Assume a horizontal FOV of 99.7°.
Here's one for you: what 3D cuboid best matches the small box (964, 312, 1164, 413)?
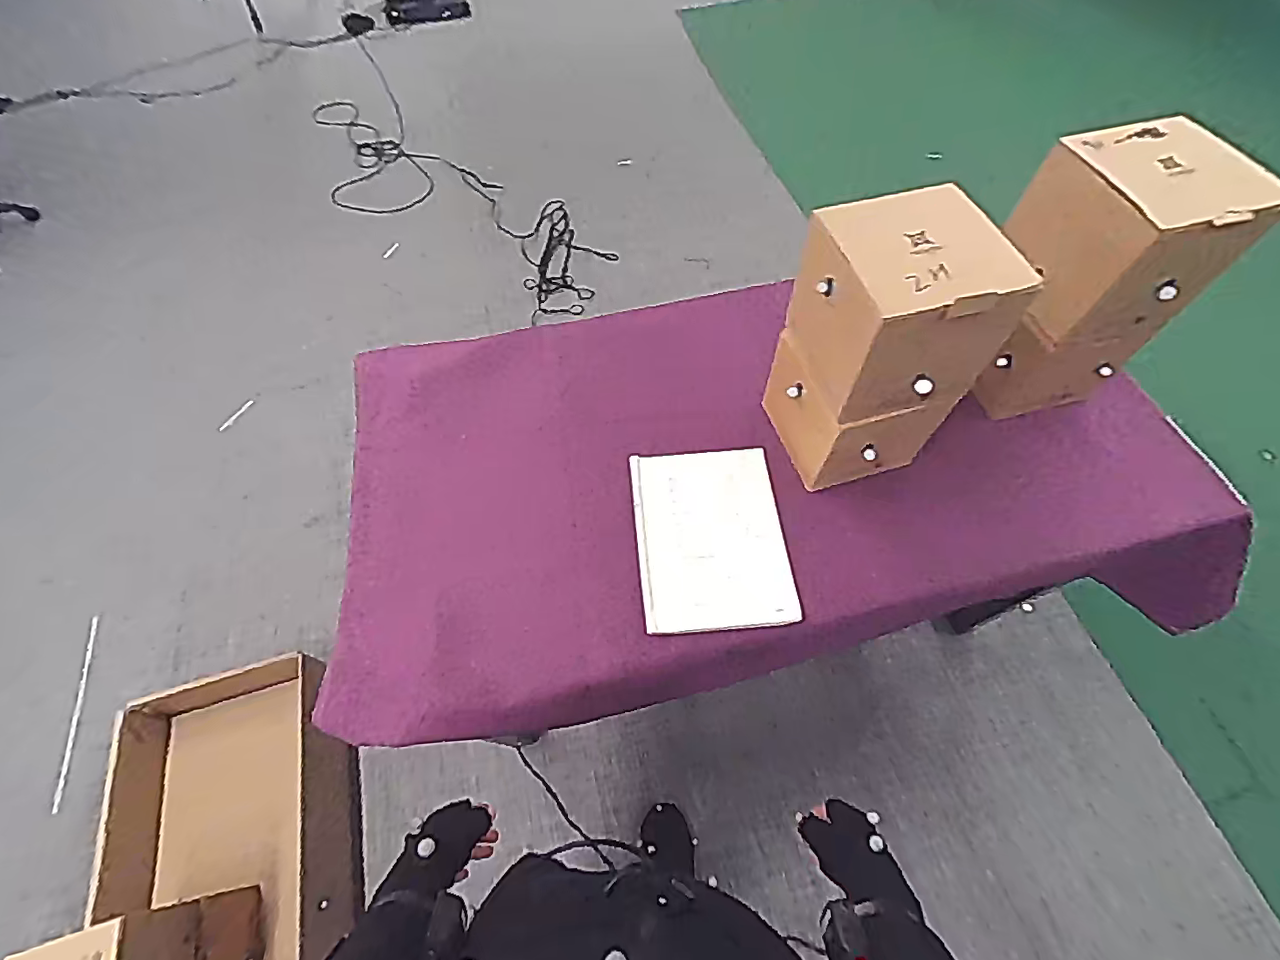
[{"bbox_3d":[0.592,-0.218,0.810,0.168,0.176,0.179,-12,61,-5],"label":"small box"}]

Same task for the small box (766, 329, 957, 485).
[{"bbox_3d":[0.294,-0.109,0.763,0.168,0.176,0.179,-15,60,-6],"label":"small box"}]

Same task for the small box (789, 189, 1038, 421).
[{"bbox_3d":[0.288,-0.196,0.623,0.168,0.176,0.179,-13,61,-4],"label":"small box"}]

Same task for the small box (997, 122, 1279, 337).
[{"bbox_3d":[0.581,-0.296,0.666,0.168,0.176,0.179,-12,62,-6],"label":"small box"}]
